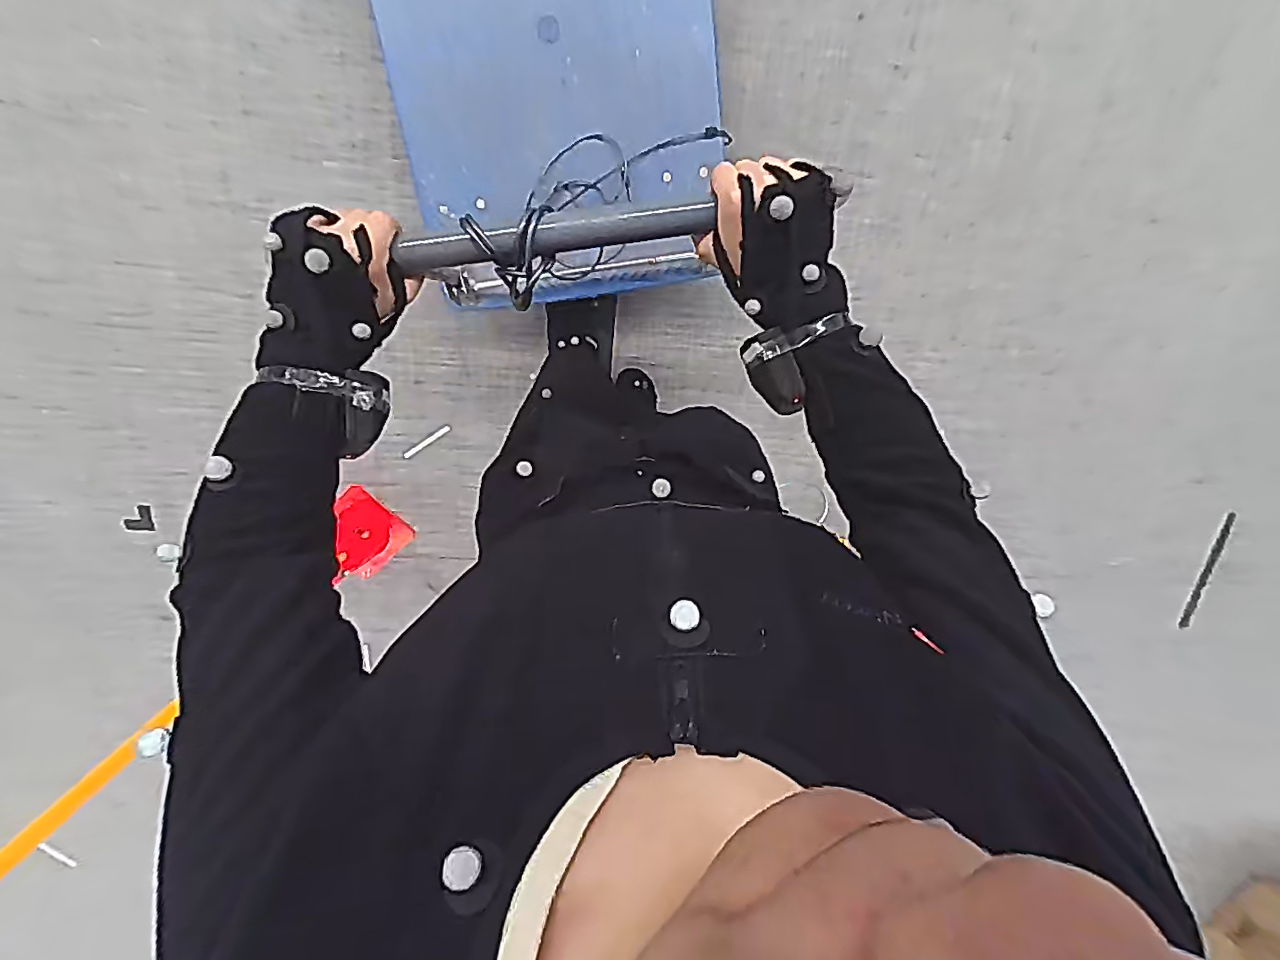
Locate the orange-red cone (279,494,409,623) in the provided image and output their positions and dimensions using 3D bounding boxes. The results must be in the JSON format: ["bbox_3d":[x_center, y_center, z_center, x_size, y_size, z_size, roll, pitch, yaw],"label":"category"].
[{"bbox_3d":[-0.706,0.206,1.223,0.199,0.360,0.198,-40,108,8],"label":"orange-red cone"}]
